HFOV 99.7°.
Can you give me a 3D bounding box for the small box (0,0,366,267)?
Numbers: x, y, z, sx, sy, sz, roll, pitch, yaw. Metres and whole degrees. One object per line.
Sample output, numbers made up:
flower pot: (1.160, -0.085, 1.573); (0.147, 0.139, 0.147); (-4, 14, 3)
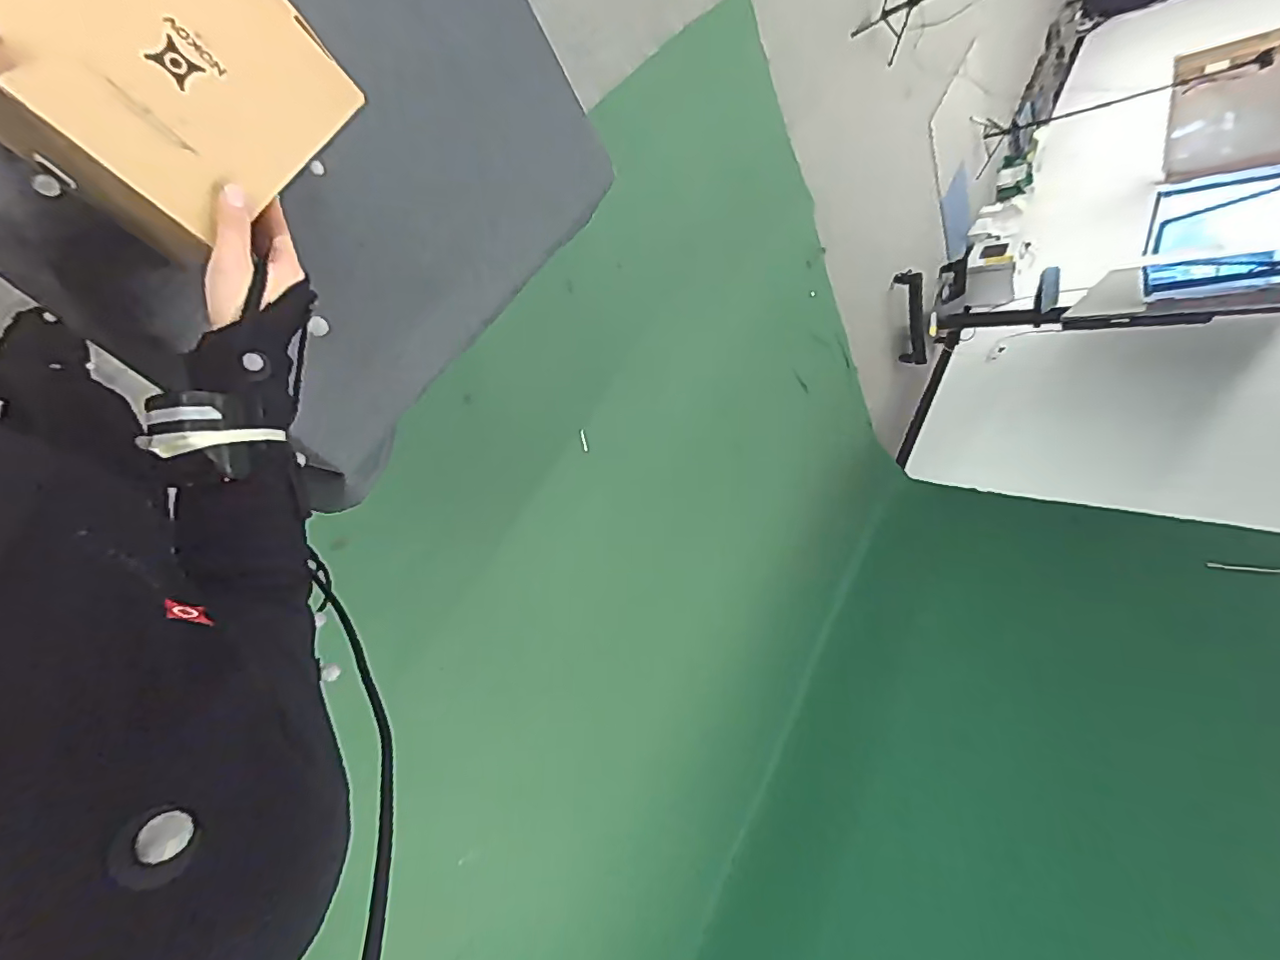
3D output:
small box: (-0.356, -0.287, 0.406); (0.168, 0.176, 0.179); (44, 68, -43)
